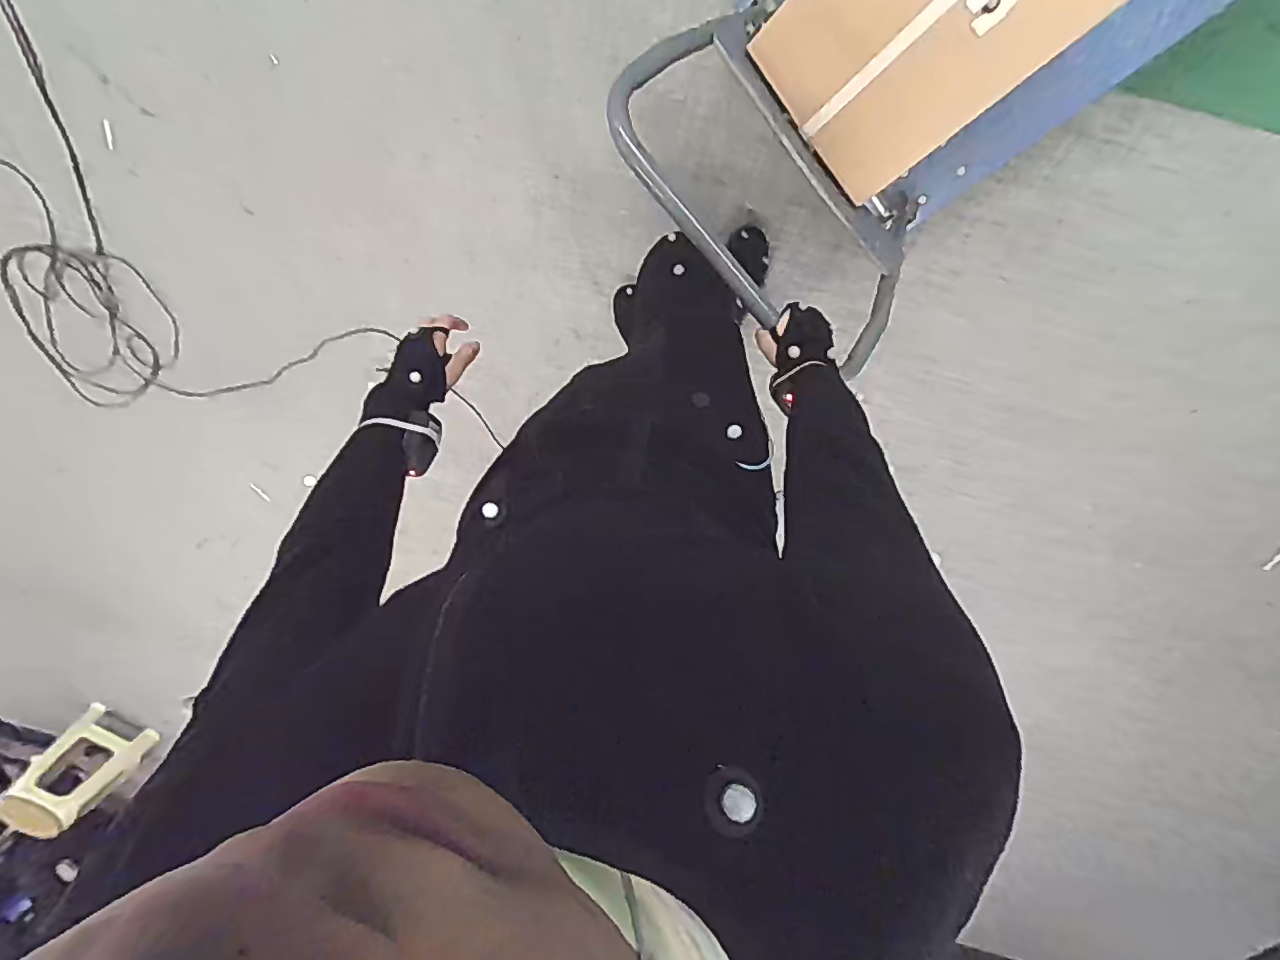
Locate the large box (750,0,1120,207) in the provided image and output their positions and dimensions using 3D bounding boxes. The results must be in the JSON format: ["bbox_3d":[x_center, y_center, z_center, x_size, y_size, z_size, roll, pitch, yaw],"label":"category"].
[{"bbox_3d":[0.453,-0.743,0.881,0.320,0.320,0.408,46,133,-16],"label":"large box"}]
